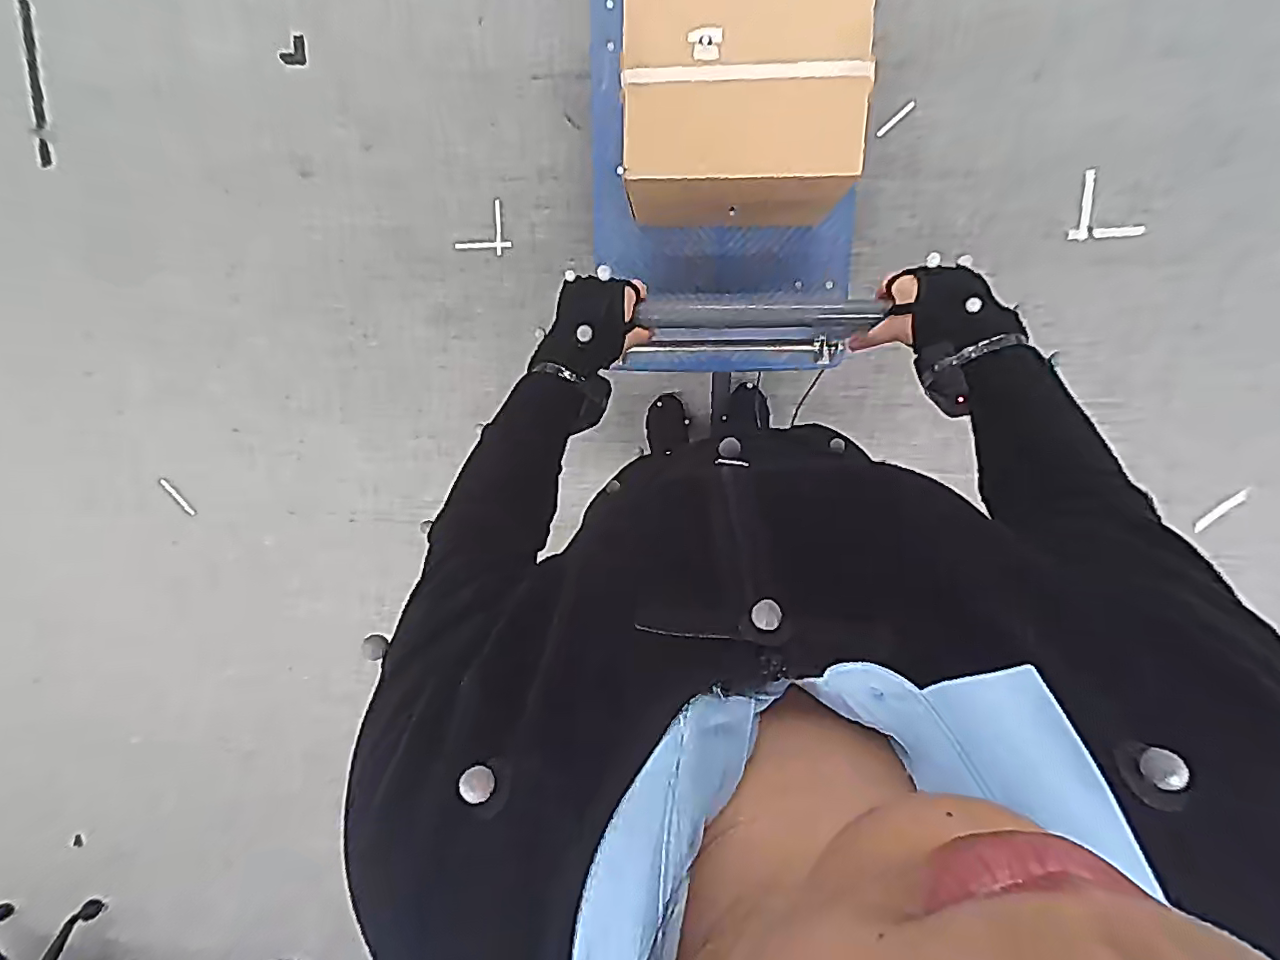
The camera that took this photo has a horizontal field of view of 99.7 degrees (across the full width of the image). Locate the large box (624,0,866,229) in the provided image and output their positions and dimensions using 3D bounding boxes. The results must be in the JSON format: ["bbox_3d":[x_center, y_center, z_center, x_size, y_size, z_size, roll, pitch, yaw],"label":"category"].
[{"bbox_3d":[0.187,-0.701,1.063,0.408,0.320,0.320,1,100,5],"label":"large box"}]
